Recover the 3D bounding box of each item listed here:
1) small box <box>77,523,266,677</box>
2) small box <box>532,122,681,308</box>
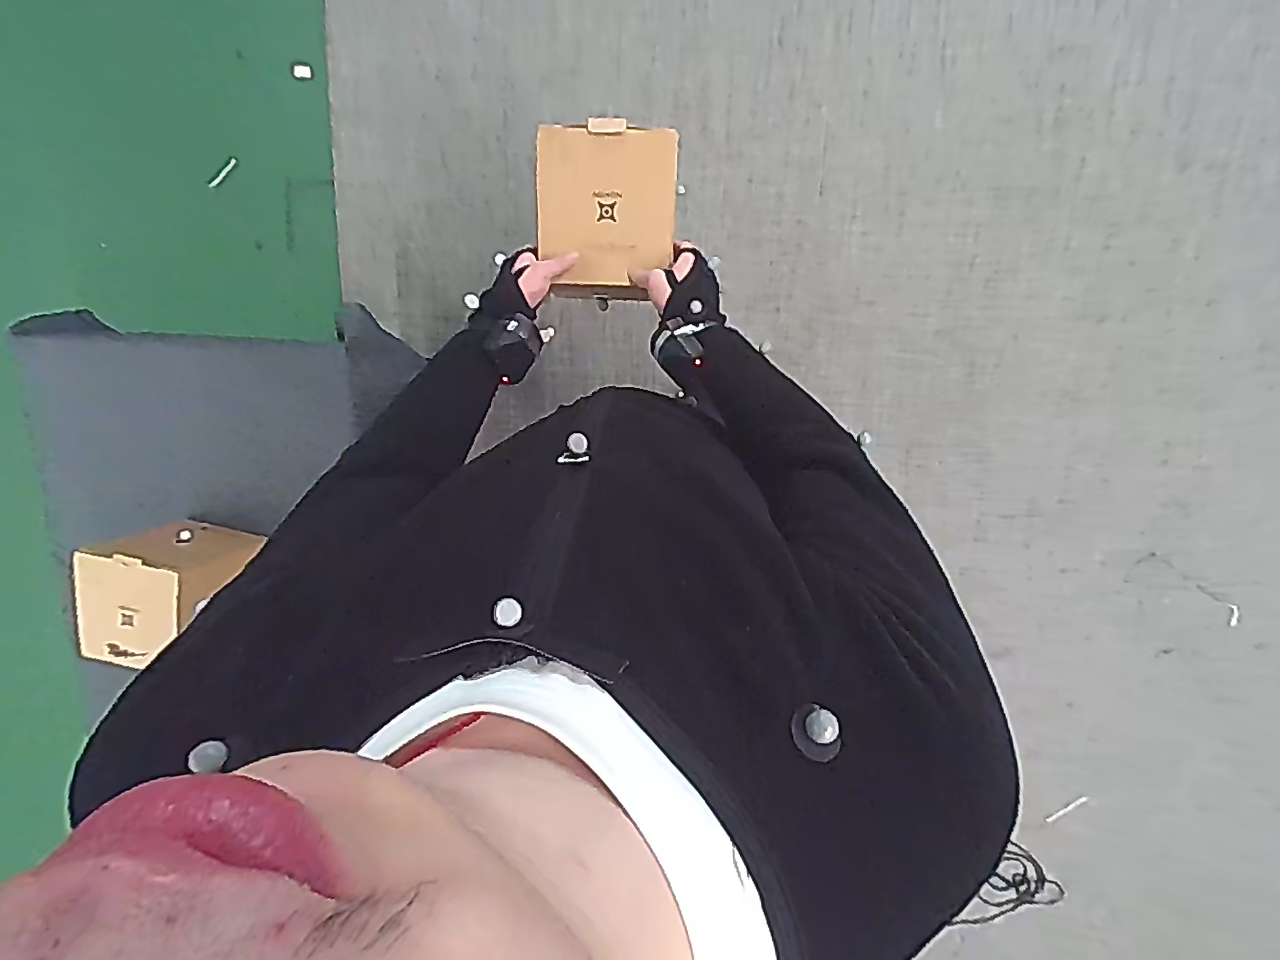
[{"bbox_3d":[-0.743,0.182,0.875,0.168,0.176,0.179,12,101,4],"label":"small box"},{"bbox_3d":[-0.039,-0.329,0.703,0.168,0.176,0.179,4,102,2],"label":"small box"}]
